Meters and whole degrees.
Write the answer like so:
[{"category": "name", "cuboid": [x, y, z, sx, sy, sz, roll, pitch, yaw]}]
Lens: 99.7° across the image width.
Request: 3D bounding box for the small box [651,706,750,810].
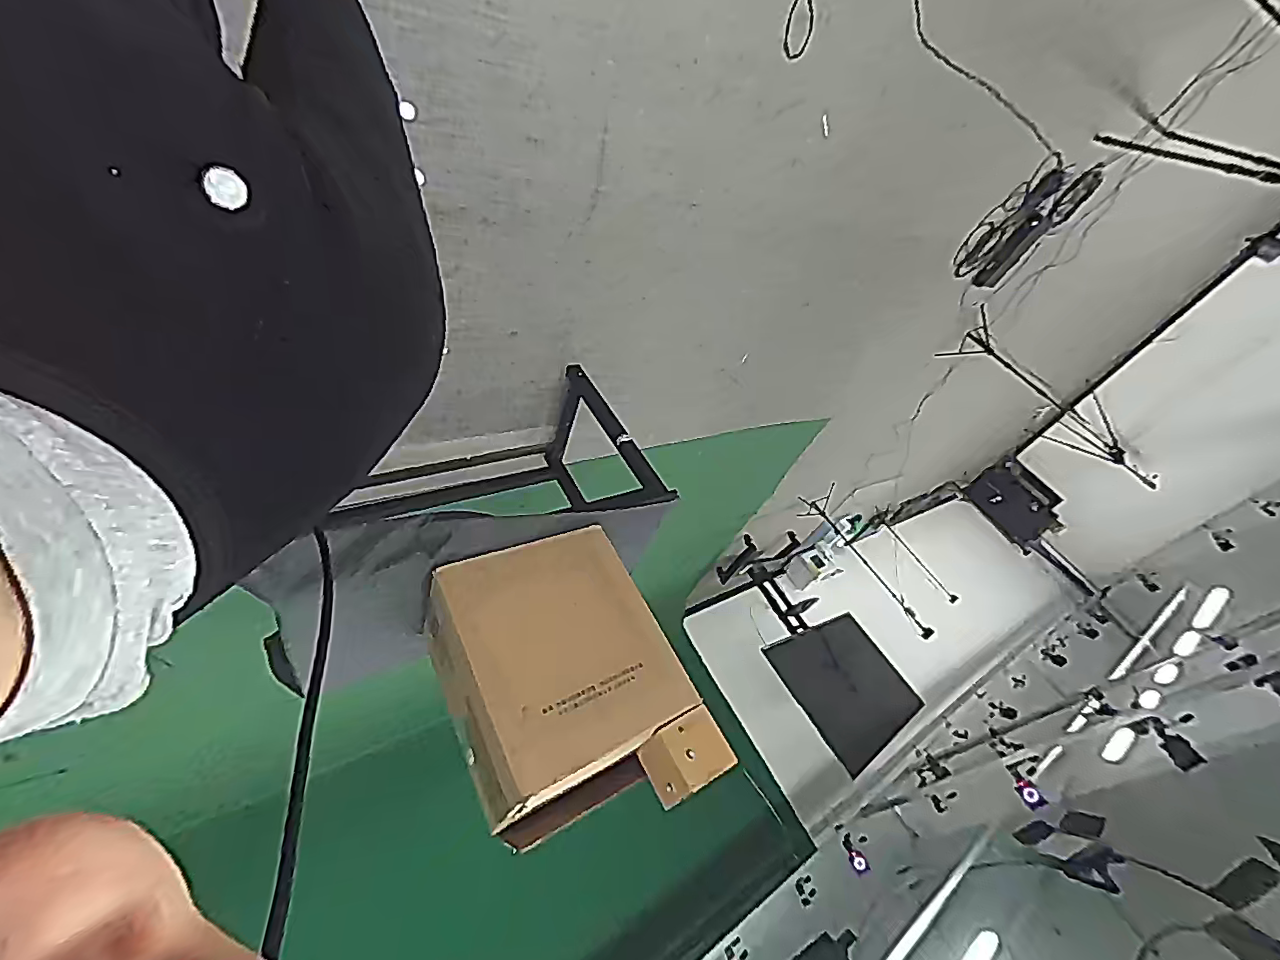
[{"category": "small box", "cuboid": [0.153, 0.733, 1.441, 0.168, 0.176, 0.179, -14, 146, -36]}]
